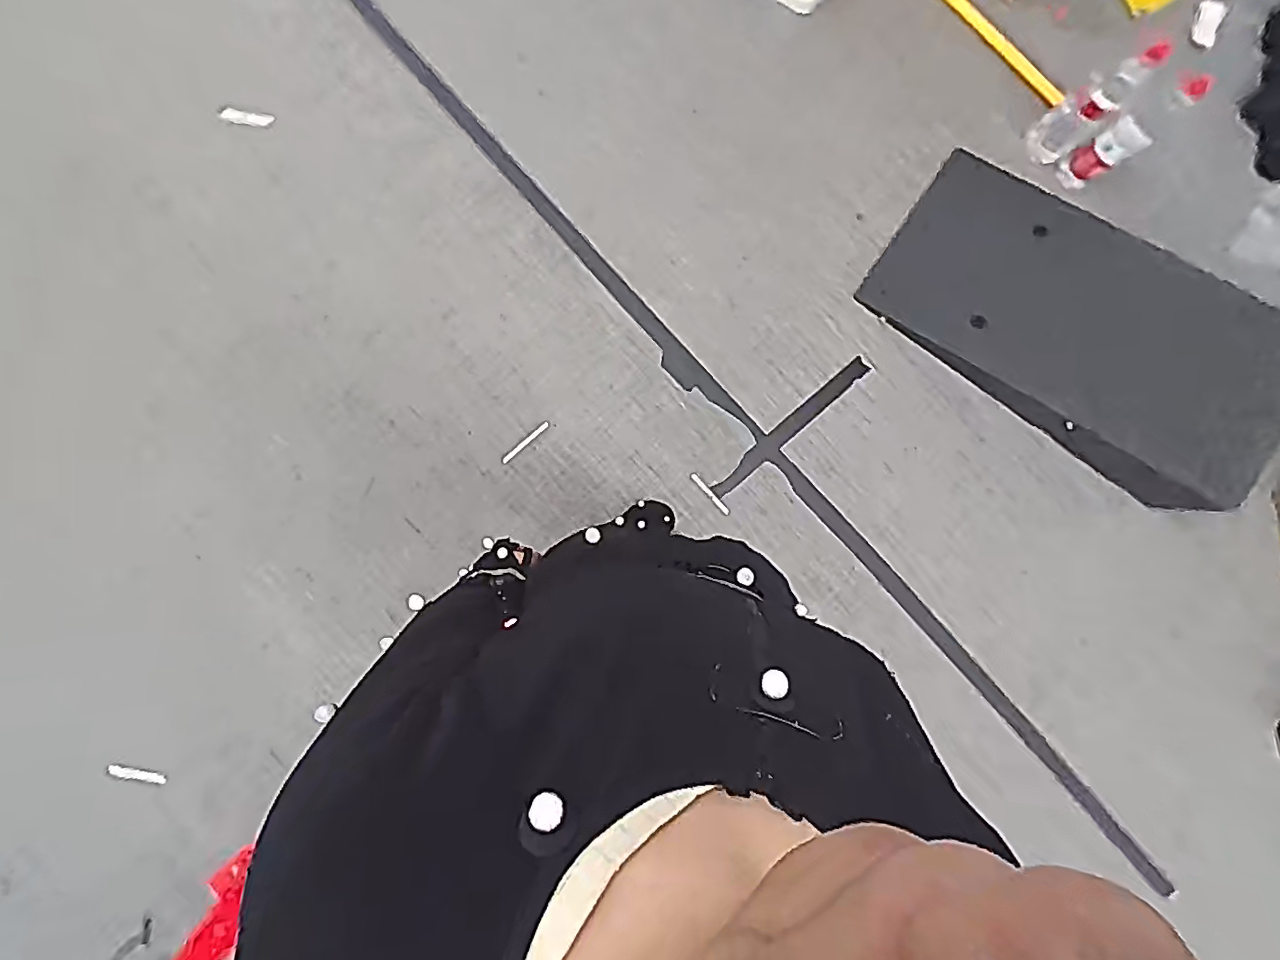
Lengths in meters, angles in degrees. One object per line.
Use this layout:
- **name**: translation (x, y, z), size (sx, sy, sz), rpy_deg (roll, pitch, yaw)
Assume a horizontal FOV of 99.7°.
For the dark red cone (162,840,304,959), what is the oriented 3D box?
- **dark red cone**: translation (-0.937, 0.996, 1.146), size (0.202, 0.394, 0.201), rpy_deg (-42, 90, -2)
